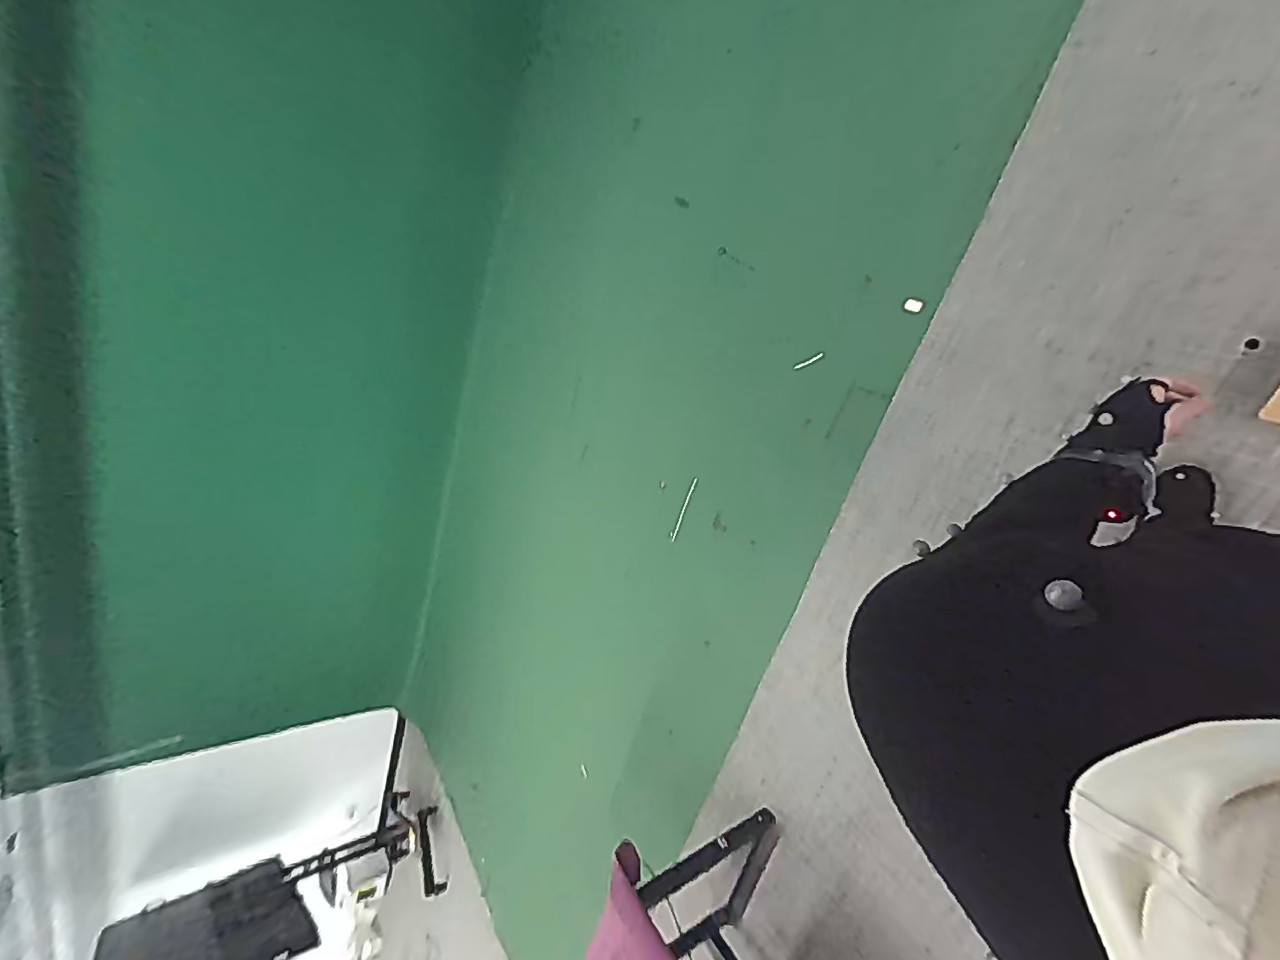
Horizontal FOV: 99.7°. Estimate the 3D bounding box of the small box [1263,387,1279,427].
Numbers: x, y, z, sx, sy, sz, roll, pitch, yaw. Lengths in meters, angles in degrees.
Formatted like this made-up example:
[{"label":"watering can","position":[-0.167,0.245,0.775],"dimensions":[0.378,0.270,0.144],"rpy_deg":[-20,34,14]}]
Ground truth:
[{"label":"small box","position":[1.272,-0.159,0.959],"dimensions":[0.168,0.176,0.179],"rpy_deg":[40,119,43]}]
